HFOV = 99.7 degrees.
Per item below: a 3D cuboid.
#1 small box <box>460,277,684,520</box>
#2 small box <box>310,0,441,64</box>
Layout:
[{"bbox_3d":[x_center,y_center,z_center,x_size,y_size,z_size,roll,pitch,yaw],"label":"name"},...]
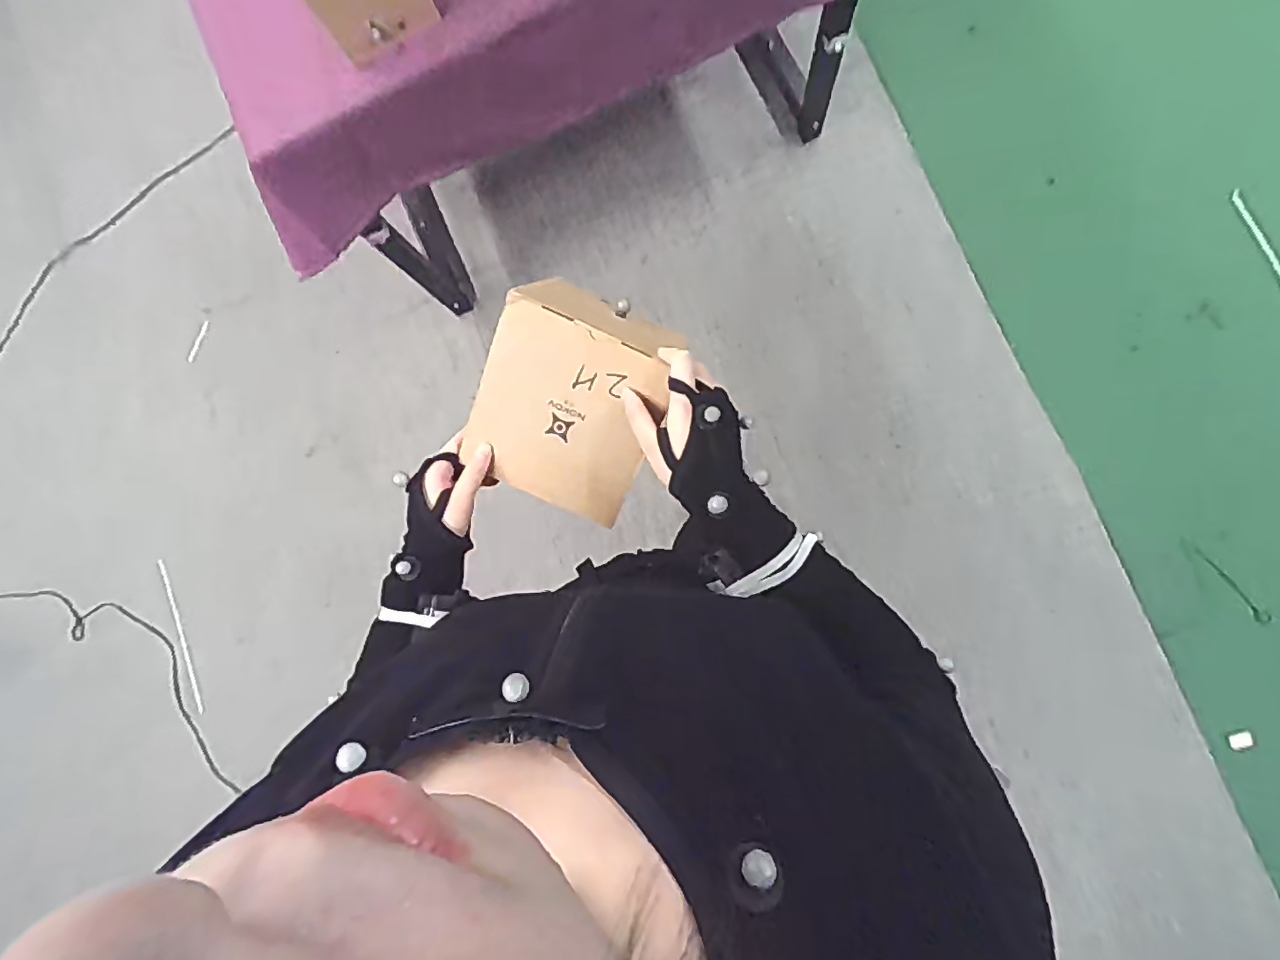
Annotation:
[{"bbox_3d":[-0.059,-0.095,0.571,0.168,0.176,0.179,25,114,-4],"label":"small box"},{"bbox_3d":[-0.437,-0.800,0.823,0.168,0.176,0.179,-23,83,5],"label":"small box"}]
